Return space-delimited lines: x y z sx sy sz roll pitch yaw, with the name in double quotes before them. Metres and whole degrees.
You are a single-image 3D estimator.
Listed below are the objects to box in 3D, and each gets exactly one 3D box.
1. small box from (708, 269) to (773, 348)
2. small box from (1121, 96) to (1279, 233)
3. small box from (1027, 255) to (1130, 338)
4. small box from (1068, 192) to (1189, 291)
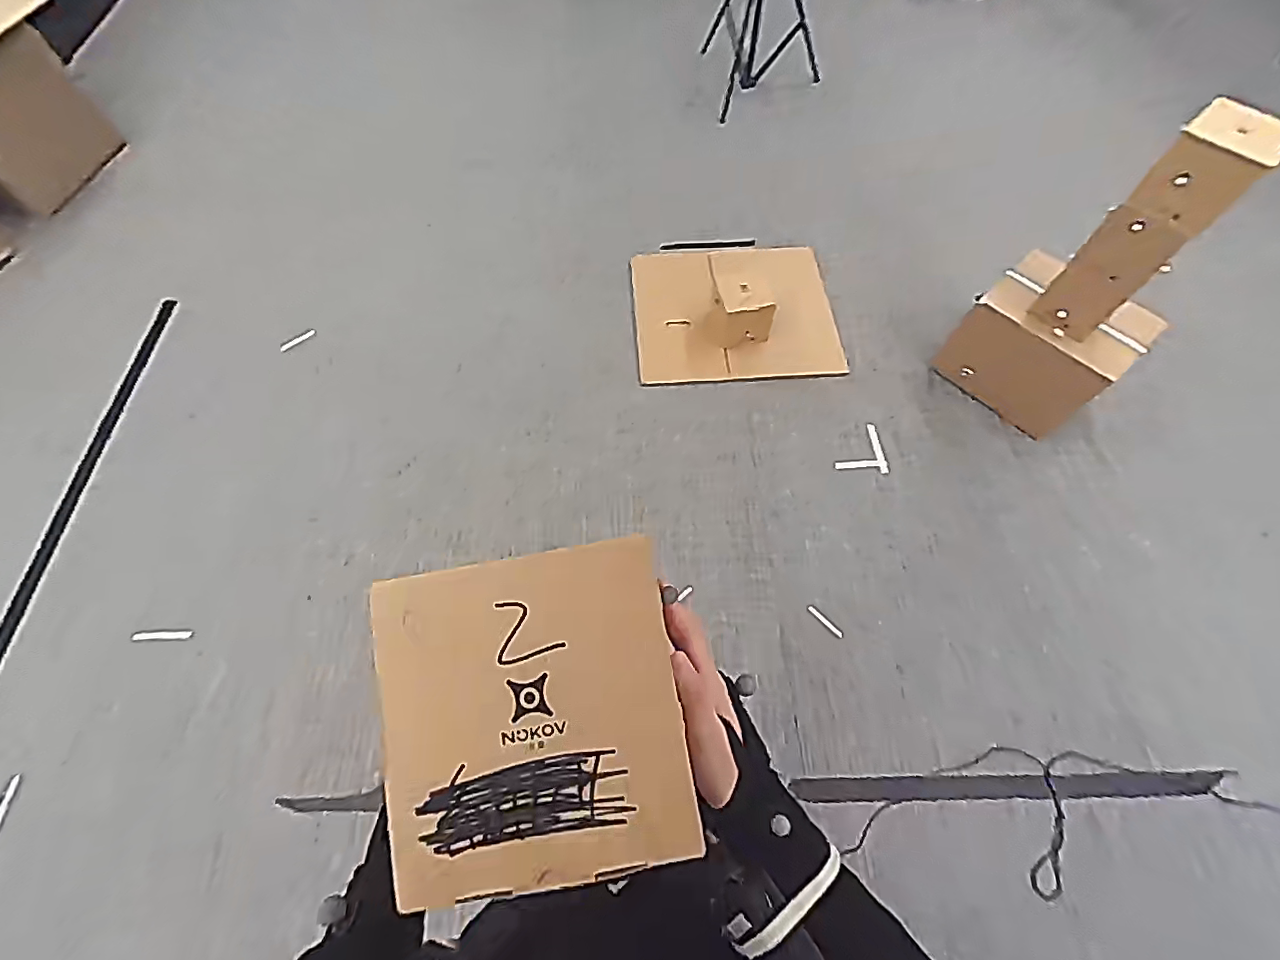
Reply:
"small box" 0.331 -0.574 1.817 0.168 0.176 0.179 -12 64 -3
"small box" 1.190 -0.666 1.152 0.179 0.176 0.168 -40 69 -18
"small box" 1.190 -0.518 1.443 0.179 0.176 0.168 -40 69 -17
"small box" 1.191 -0.595 1.299 0.179 0.176 0.168 -40 69 -19
